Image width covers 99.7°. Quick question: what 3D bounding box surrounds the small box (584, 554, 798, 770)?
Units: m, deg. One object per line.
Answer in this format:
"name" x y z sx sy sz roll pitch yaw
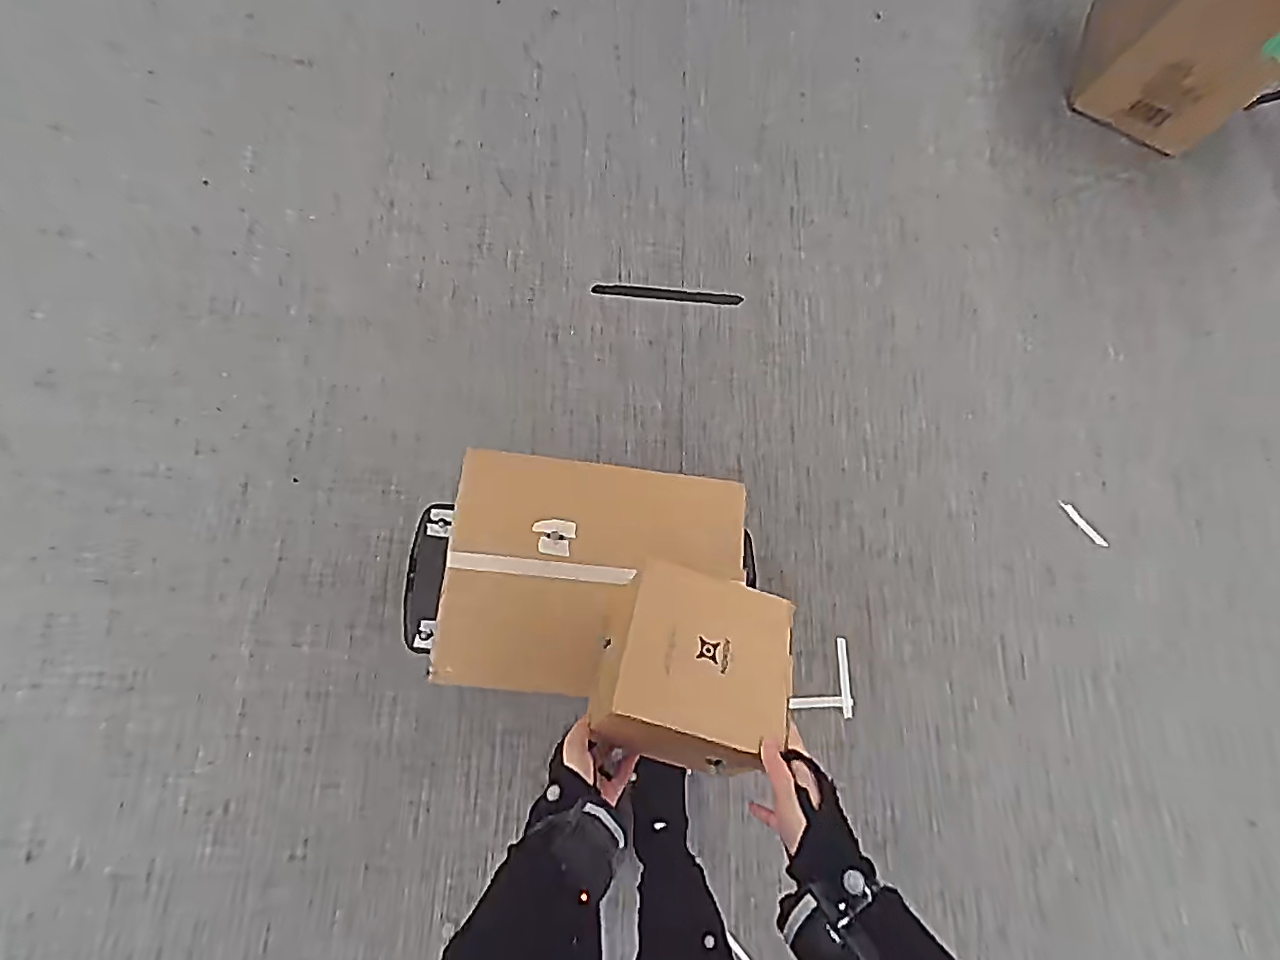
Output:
"small box" 0.053 0.210 0.601 0.179 0.176 0.168 19 54 -5

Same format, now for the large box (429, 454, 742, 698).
"large box" -0.074 0.162 0.874 0.408 0.320 0.320 7 76 -6

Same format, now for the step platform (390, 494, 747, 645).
"step platform" -0.128 0.222 1.100 0.684 0.204 0.286 9 77 -5
